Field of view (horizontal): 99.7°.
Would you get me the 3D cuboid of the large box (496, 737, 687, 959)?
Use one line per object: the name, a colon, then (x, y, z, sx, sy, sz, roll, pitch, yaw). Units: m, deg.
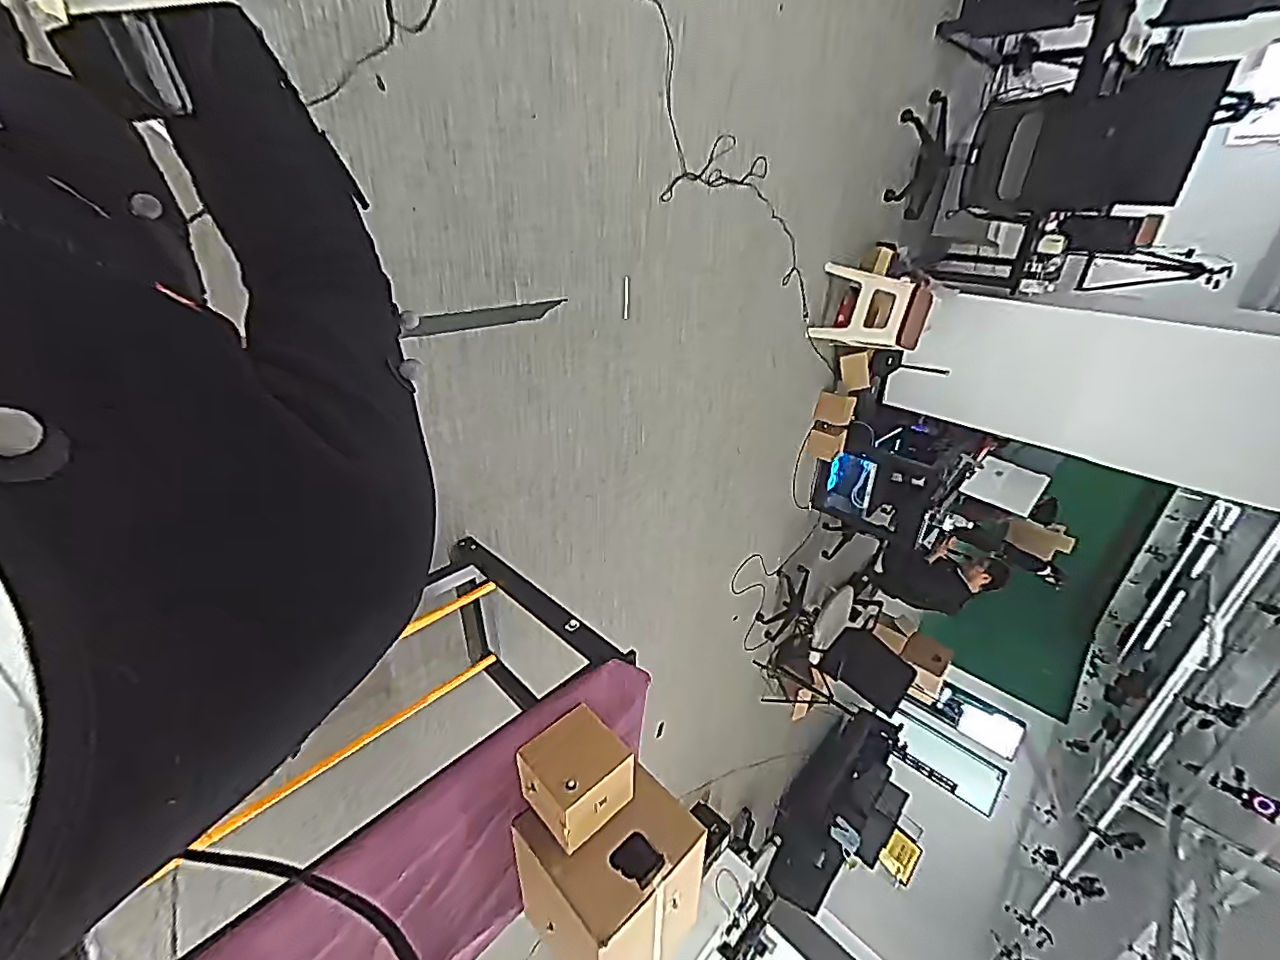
large box: (-0.109, 0.918, 1.279, 0.320, 0.320, 0.408, -25, 127, -39)
